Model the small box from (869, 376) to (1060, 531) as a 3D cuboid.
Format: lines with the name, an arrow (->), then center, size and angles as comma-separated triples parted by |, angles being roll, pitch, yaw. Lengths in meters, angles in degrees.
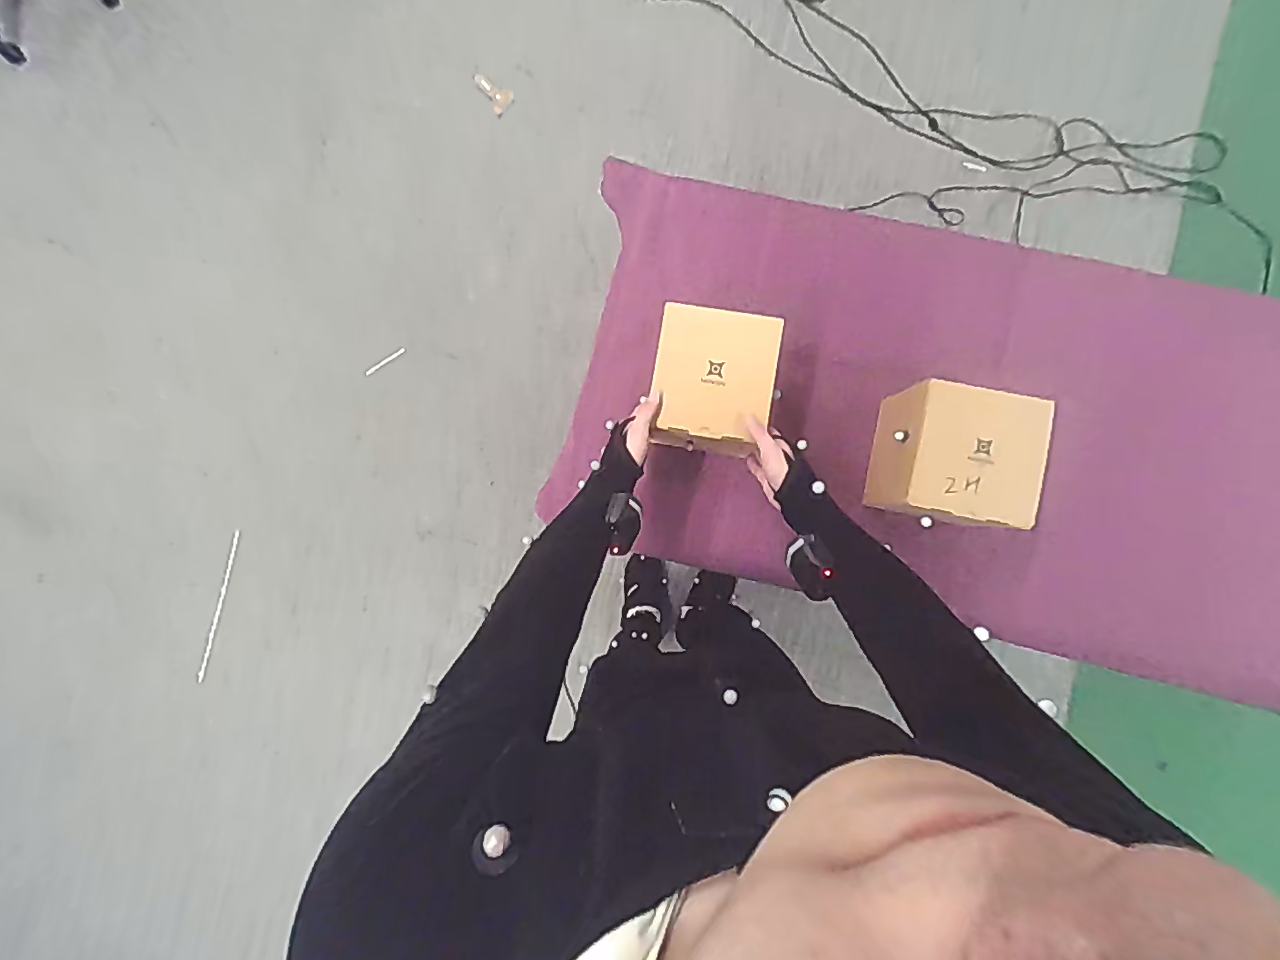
small box -> 0.451, -0.031, 0.779 | 0.168, 0.176, 0.179 | 12, 88, 4

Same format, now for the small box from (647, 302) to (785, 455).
small box -> 0.104, -0.140, 0.804 | 0.168, 0.176, 0.179 | 9, 88, 3
